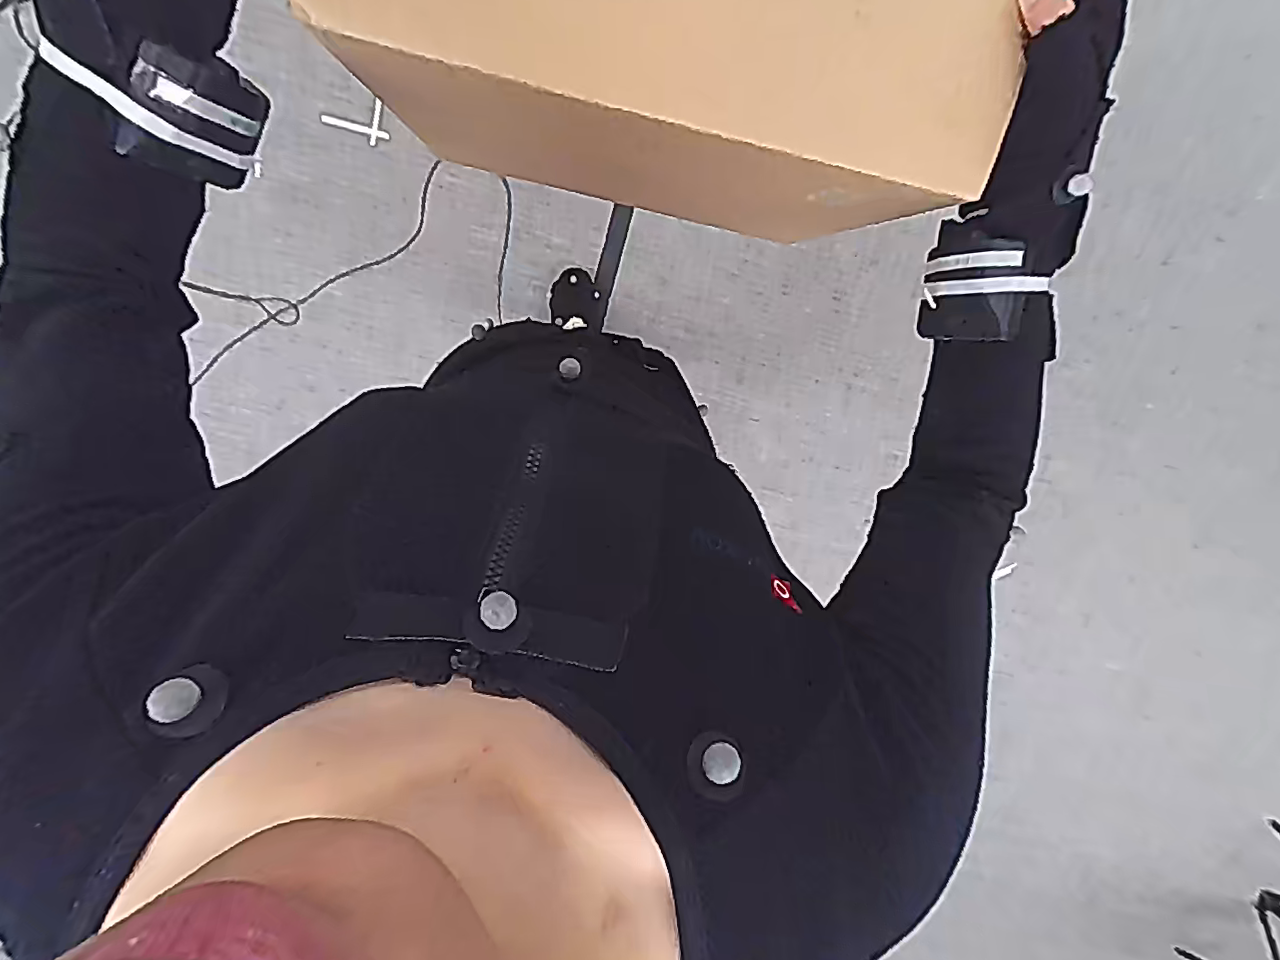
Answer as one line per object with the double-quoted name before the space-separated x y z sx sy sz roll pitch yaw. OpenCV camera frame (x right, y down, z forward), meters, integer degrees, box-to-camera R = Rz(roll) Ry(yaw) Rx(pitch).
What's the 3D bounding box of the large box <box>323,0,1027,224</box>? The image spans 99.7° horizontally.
"large box" 0.028 -0.414 0.413 0.408 0.320 0.320 7 109 -10
